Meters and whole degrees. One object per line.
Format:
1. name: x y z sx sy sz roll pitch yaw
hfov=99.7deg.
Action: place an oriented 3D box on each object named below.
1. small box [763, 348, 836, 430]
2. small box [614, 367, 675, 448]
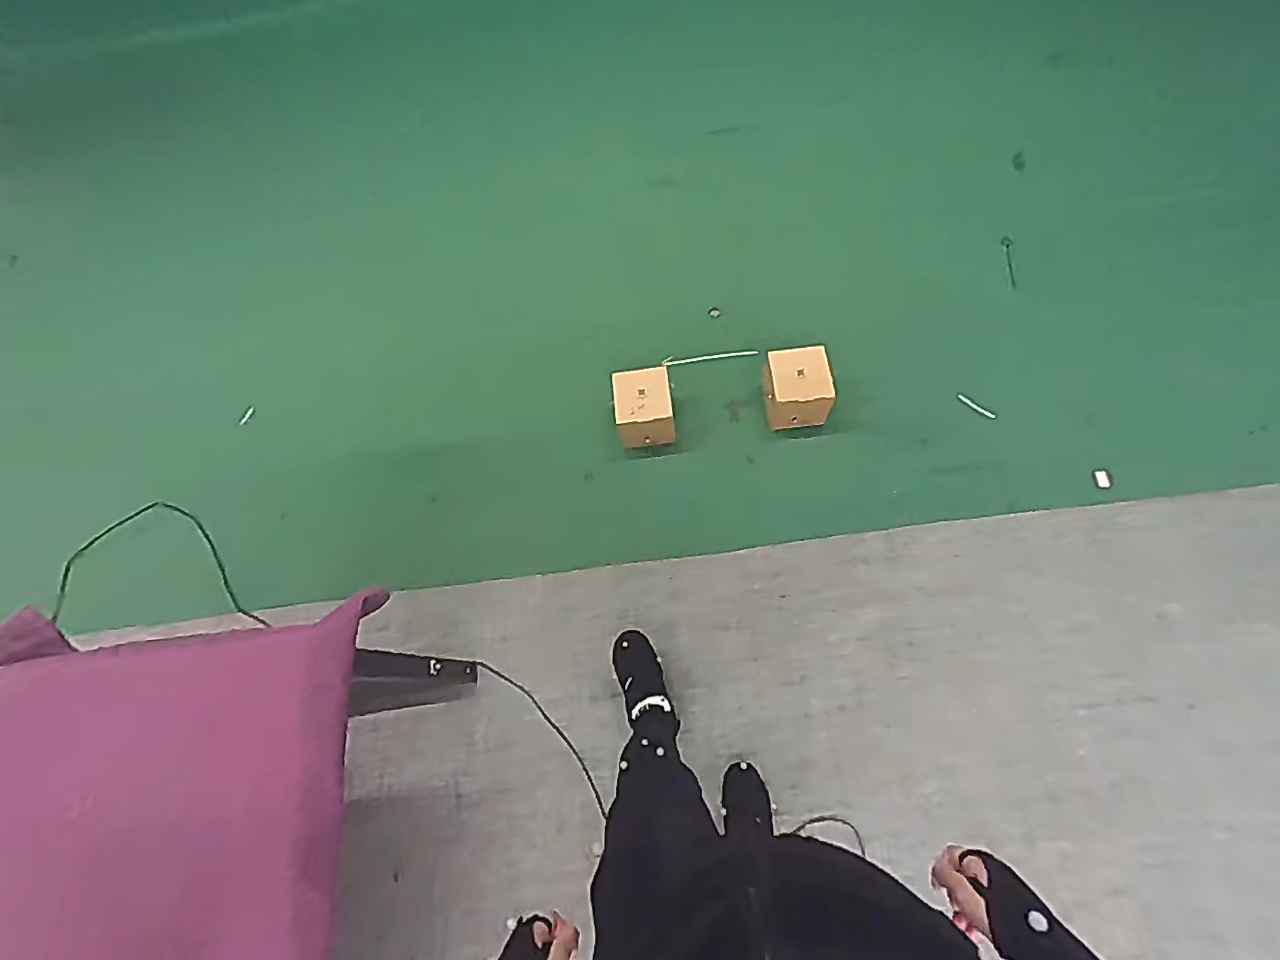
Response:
1. small box: 0.470 -0.269 1.624 0.168 0.176 0.179 -6 69 3
2. small box: 0.016 -0.217 1.648 0.168 0.176 0.179 -7 68 4
